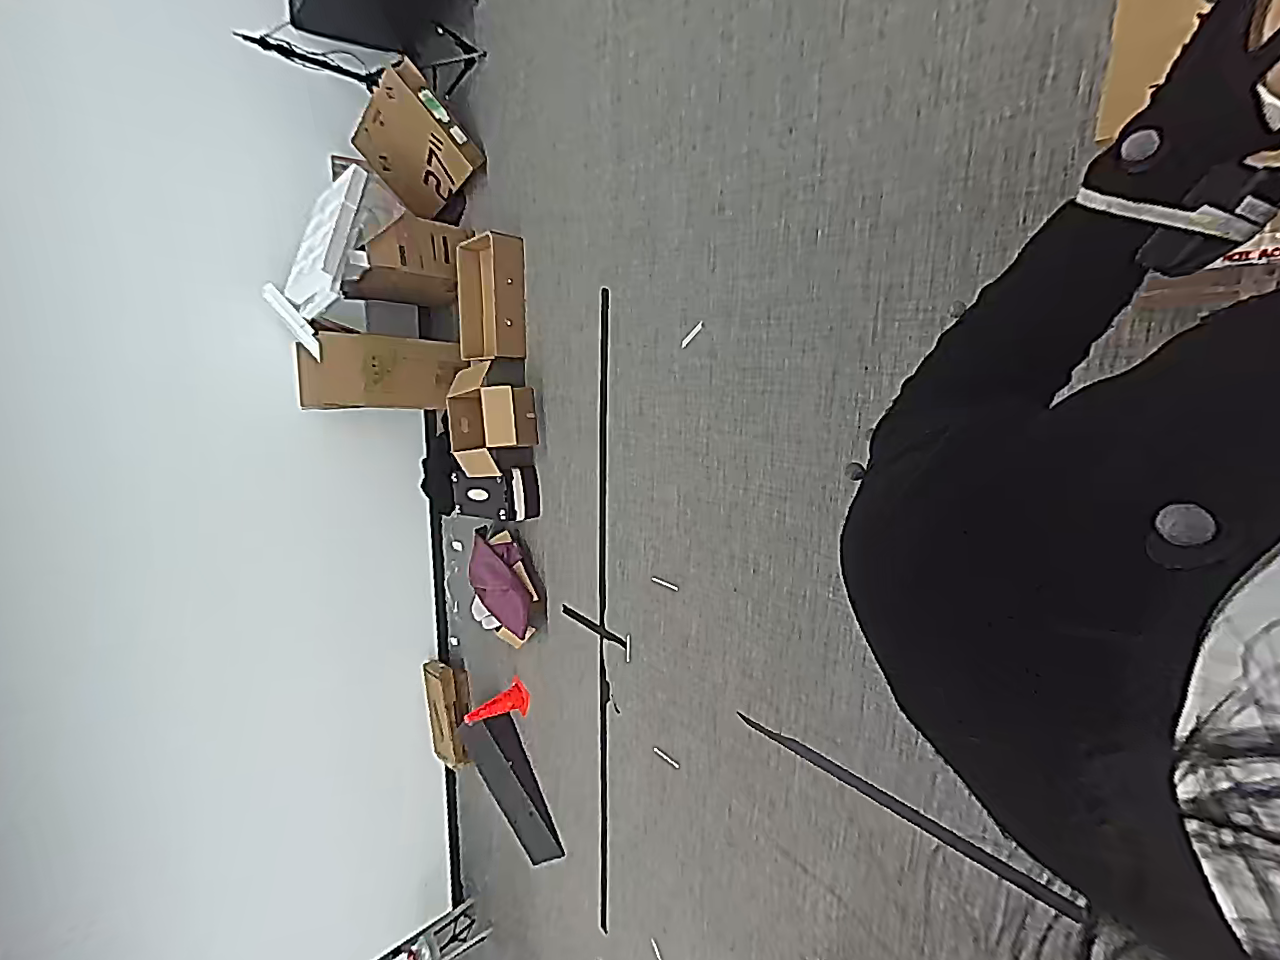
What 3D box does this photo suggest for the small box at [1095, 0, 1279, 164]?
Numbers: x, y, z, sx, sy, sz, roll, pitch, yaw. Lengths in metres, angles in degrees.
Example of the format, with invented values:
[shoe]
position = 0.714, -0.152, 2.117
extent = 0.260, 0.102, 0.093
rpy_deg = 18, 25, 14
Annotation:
[small box]
position = 0.664, -0.498, 0.627
extent = 0.168, 0.176, 0.179
rpy_deg = 15, 110, 48
